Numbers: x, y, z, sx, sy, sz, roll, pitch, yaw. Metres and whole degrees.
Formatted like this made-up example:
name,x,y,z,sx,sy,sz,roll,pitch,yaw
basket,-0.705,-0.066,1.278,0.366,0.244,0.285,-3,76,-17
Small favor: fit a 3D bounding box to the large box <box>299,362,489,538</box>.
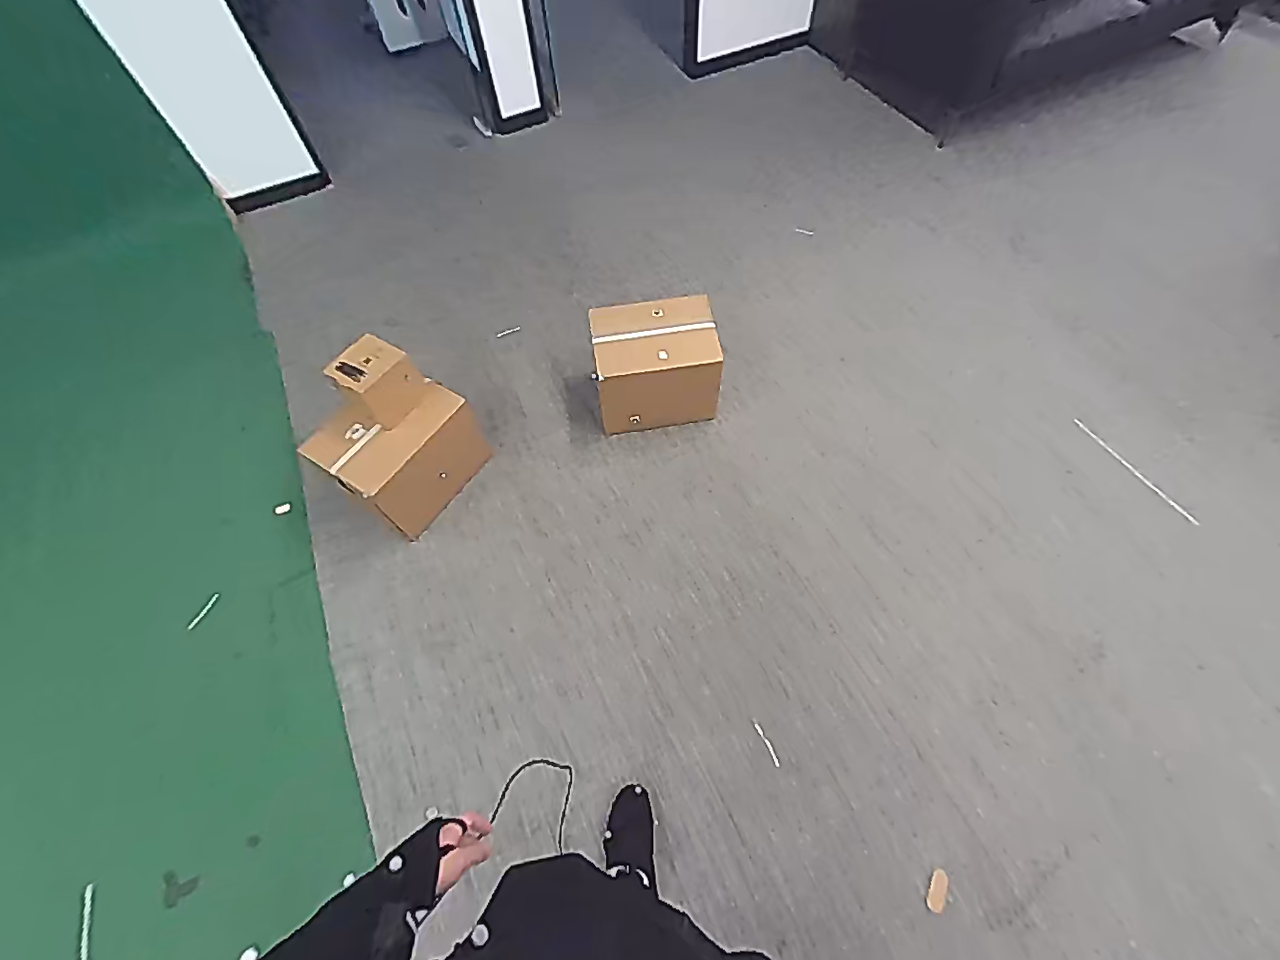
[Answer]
name,x,y,z,sx,sy,sz,roll,pitch,yaw
large box,-0.761,-0.094,1.742,0.320,0.320,0.408,27,65,17
